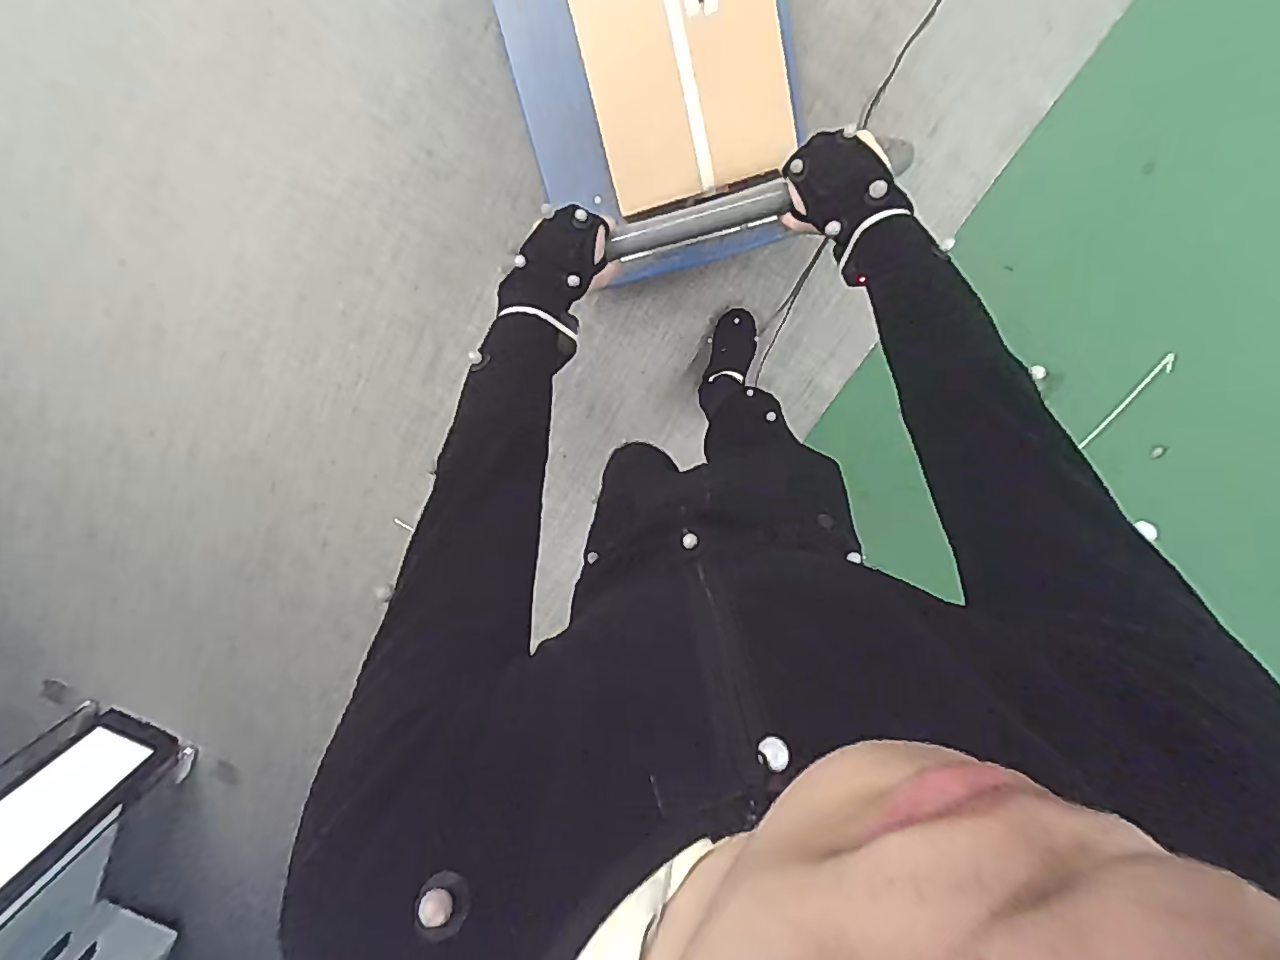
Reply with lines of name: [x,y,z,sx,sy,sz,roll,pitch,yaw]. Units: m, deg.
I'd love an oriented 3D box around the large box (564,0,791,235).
large box: [0.077,-0.735,1.034,0.320,0.320,0.408,-13,107,9]
